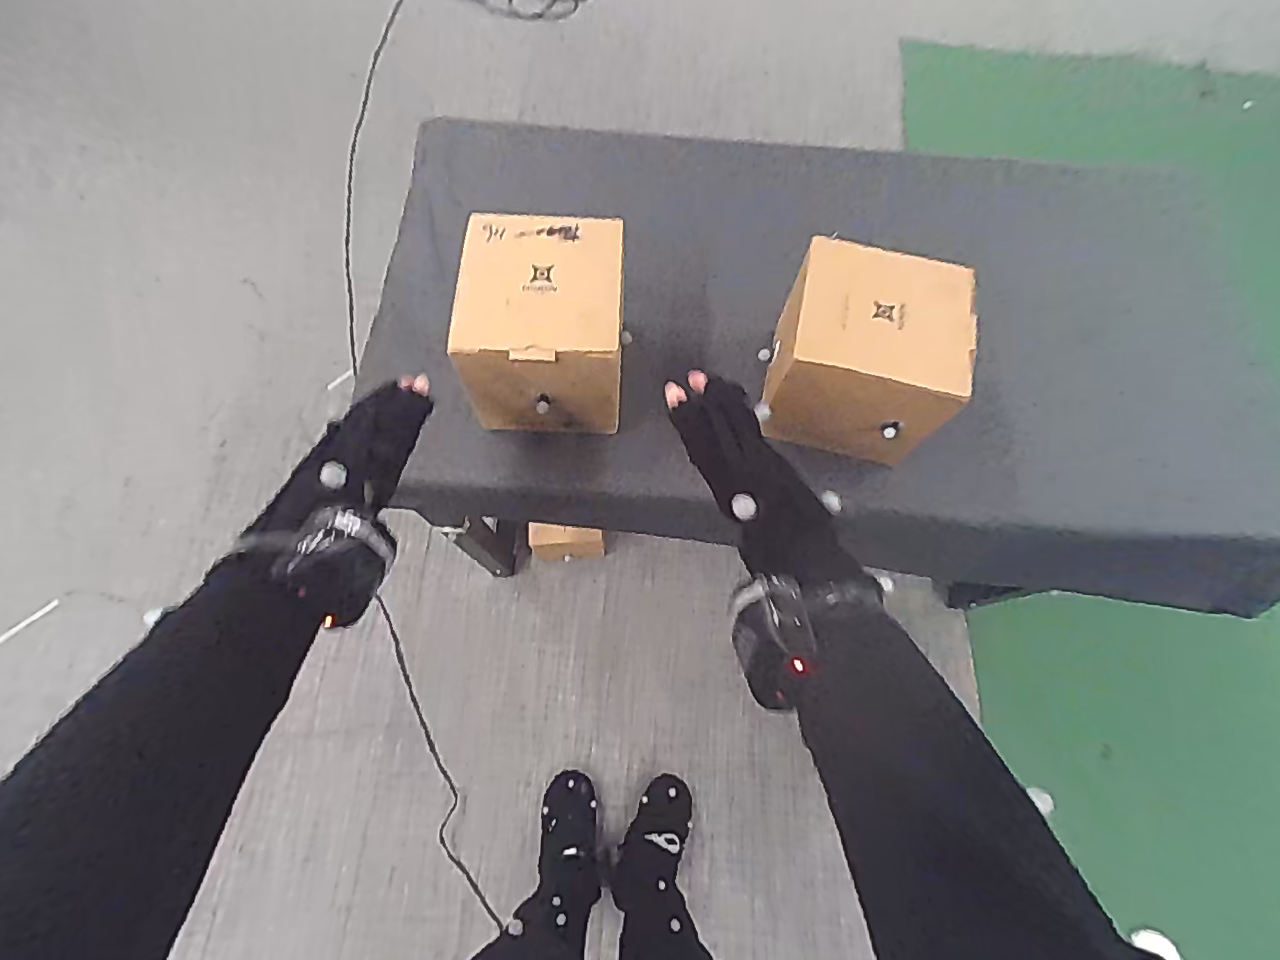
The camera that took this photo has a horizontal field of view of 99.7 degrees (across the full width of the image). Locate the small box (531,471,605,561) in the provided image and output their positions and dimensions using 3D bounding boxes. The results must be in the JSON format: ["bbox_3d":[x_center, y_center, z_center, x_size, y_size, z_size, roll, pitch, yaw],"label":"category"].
[{"bbox_3d":[-0.169,0.090,1.306,0.168,0.176,0.179,-3,70,-3],"label":"small box"}]

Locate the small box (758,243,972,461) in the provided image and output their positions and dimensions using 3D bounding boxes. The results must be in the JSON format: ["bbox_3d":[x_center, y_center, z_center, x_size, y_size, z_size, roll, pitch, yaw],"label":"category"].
[{"bbox_3d":[0.251,-0.137,0.629,0.179,0.176,0.168,13,67,4],"label":"small box"}]

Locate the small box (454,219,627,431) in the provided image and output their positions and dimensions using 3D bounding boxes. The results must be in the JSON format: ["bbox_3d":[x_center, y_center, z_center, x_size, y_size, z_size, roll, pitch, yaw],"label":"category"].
[{"bbox_3d":[-0.099,-0.168,0.625,0.168,0.176,0.179,2,68,-2],"label":"small box"}]
